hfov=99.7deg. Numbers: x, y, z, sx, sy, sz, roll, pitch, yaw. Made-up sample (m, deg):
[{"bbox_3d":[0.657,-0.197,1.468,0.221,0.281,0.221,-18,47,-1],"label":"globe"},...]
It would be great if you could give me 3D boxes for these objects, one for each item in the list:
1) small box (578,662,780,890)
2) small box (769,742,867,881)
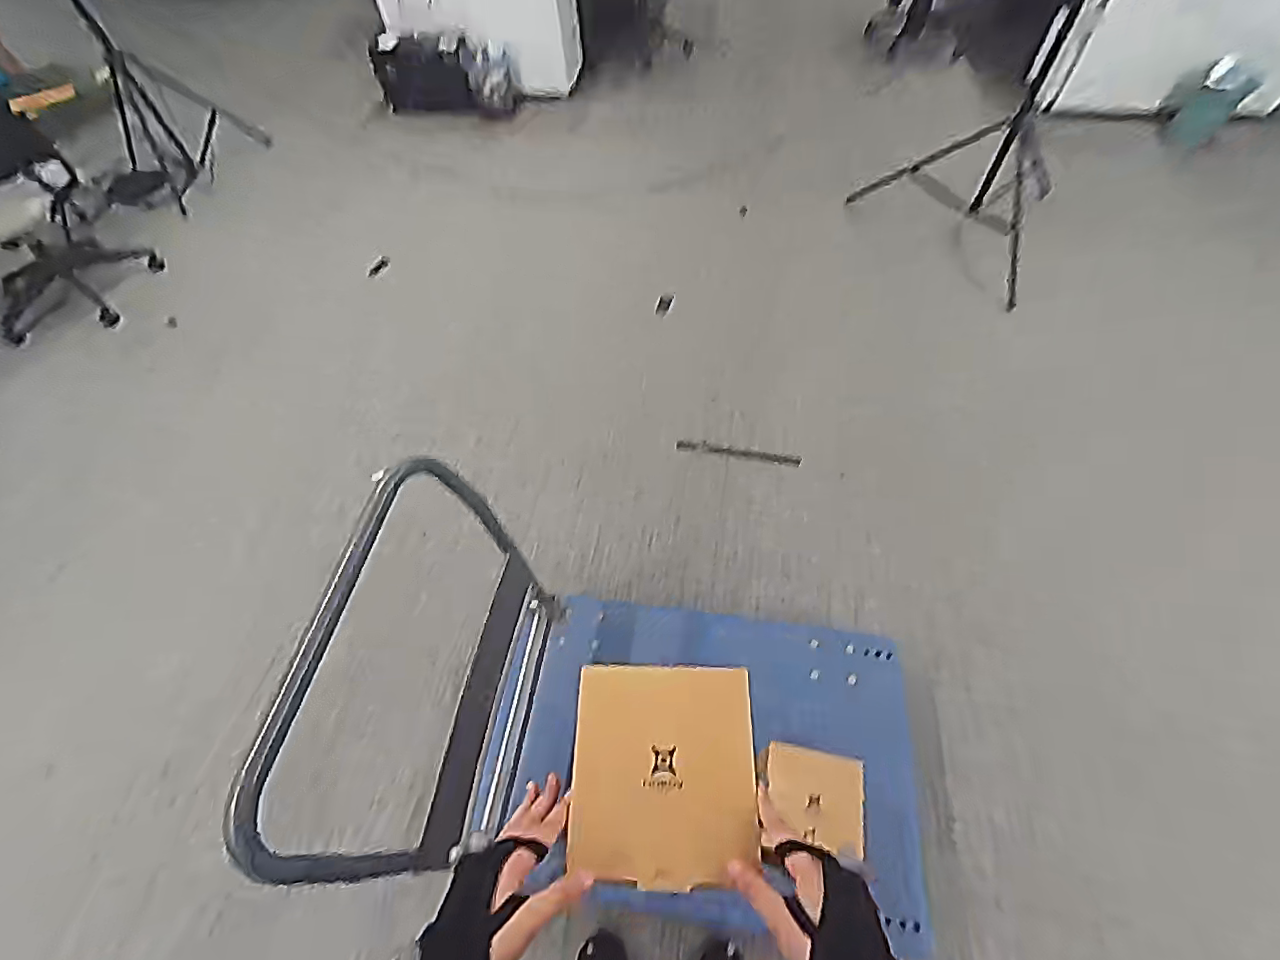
[{"bbox_3d":[0.035,0.293,0.543,0.168,0.176,0.179,0,58,2],"label":"small box"},{"bbox_3d":[0.306,0.604,0.989,0.168,0.176,0.179,9,57,10],"label":"small box"}]
